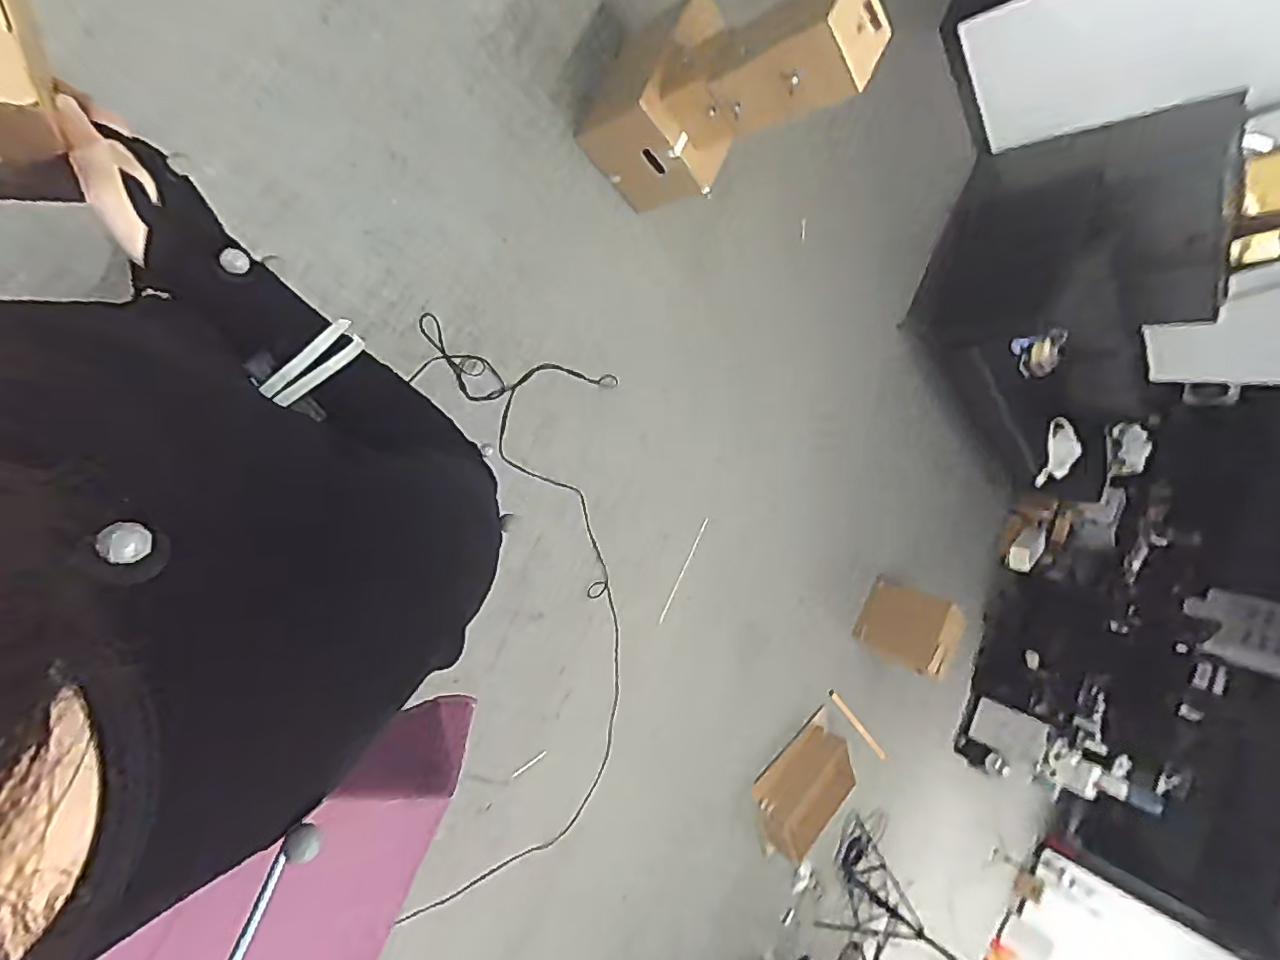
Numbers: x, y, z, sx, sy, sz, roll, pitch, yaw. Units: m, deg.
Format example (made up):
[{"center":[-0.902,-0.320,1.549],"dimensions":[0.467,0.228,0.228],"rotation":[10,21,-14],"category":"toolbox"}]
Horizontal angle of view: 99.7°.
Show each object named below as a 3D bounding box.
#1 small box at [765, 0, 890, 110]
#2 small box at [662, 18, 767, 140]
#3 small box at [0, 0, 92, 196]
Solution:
[{"center":[0.398,-0.950,1.160],"dimensions":[0.168,0.176,0.179],"rotation":[34,80,-39],"category":"small box"},{"center":[0.193,-1.025,1.406],"dimensions":[0.179,0.176,0.168],"rotation":[29,82,-39],"category":"small box"},{"center":[-0.412,-0.253,0.263],"dimensions":[0.179,0.176,0.168],"rotation":[-15,106,-36],"category":"small box"}]
